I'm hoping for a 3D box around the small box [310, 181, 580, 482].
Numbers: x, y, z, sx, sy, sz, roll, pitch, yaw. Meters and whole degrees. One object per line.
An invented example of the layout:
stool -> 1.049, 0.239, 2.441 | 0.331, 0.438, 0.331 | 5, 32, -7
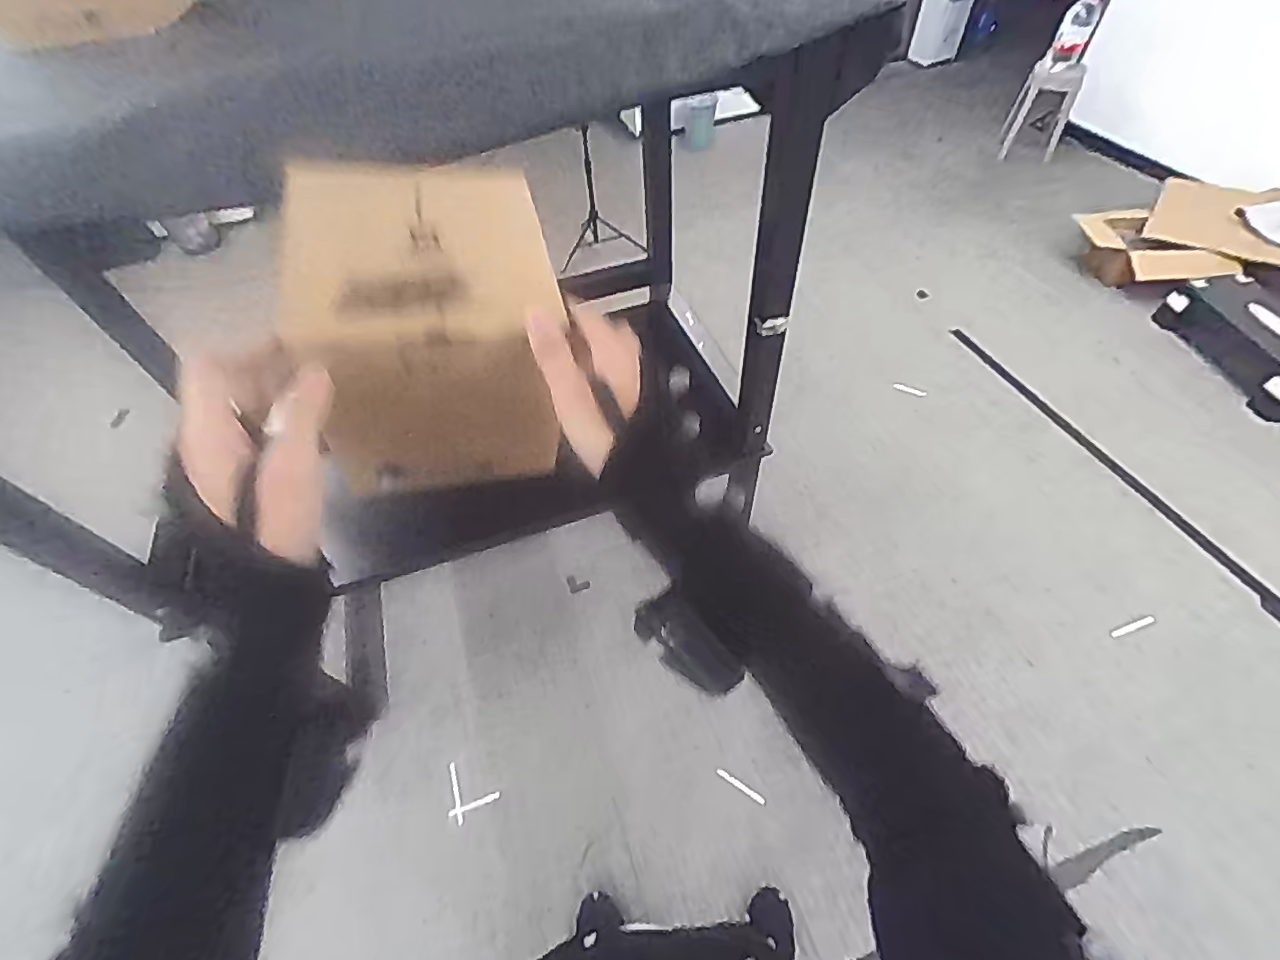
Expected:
small box -> -0.153, -0.110, 0.442 | 0.168, 0.176, 0.179 | -7, 60, -19
